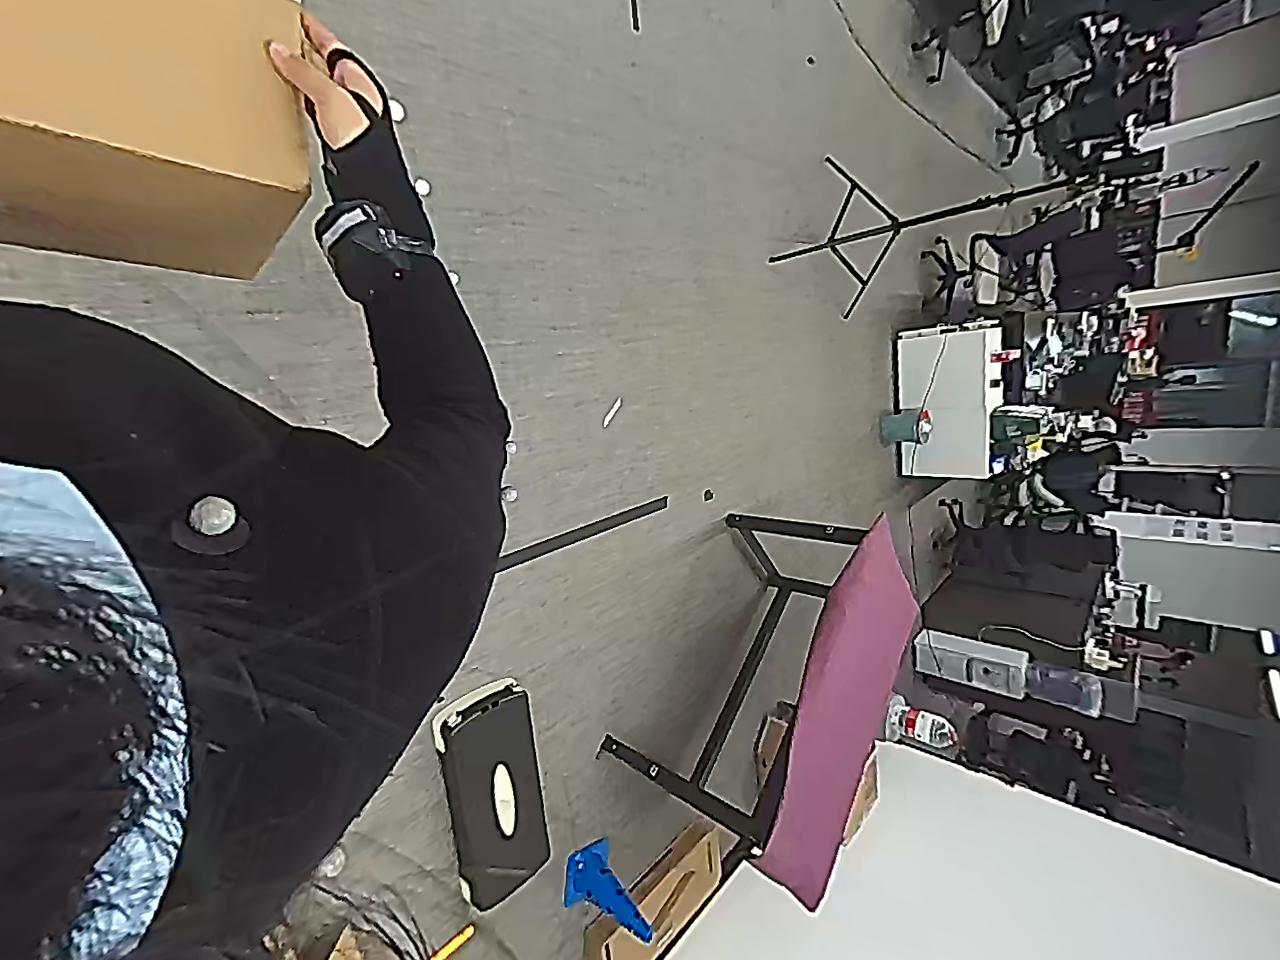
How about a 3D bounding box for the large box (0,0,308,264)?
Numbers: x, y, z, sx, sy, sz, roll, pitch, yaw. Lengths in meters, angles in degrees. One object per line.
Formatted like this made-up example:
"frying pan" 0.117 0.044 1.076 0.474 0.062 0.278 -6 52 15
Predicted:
"large box" -0.531 -0.388 0.418 0.408 0.320 0.320 -7 96 -43
